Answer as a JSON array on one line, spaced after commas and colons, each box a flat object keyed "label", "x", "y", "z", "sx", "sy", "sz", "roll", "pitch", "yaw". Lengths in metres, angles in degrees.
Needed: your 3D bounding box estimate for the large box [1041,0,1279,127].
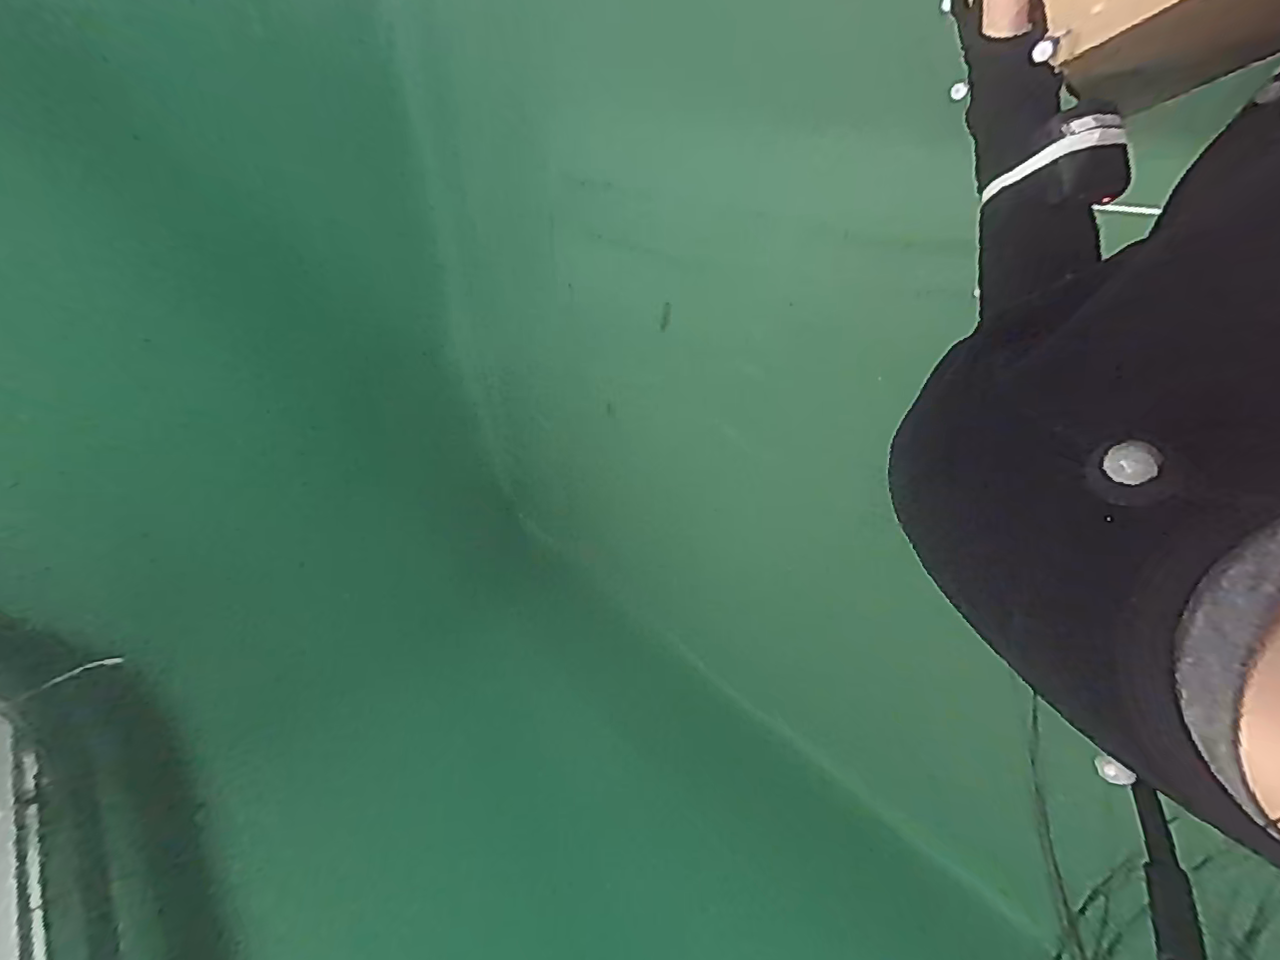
[{"label": "large box", "x": 0.491, "y": -0.496, "z": 0.321, "sx": 0.408, "sy": 0.320, "sz": 0.320, "roll": -8, "pitch": 100, "yaw": 47}]
